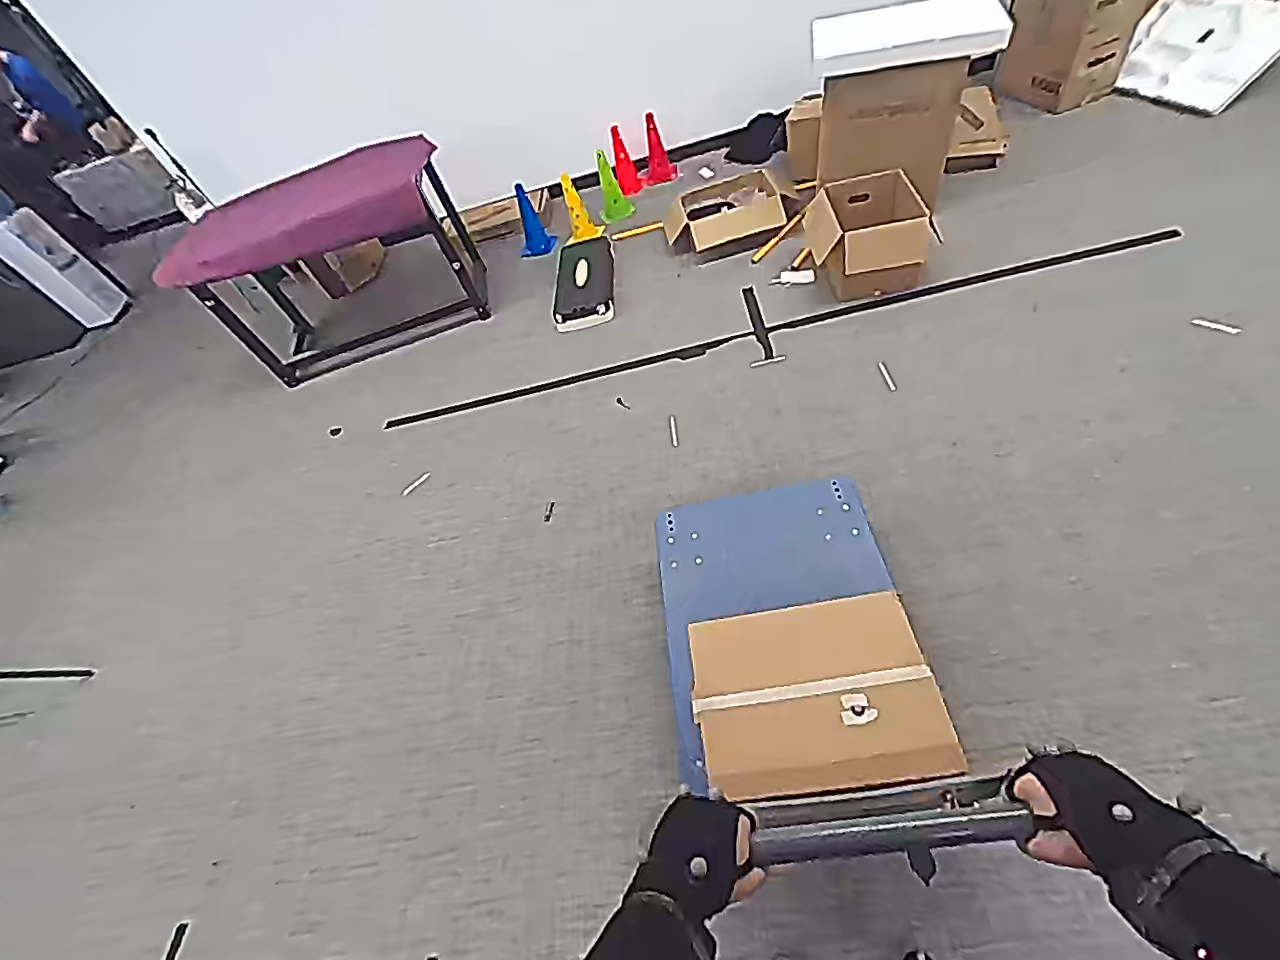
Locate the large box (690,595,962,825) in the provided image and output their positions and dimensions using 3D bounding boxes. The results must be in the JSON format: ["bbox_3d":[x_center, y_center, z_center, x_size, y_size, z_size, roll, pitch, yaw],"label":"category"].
[{"bbox_3d":[0.335,0.469,1.080,0.408,0.320,0.320,-11,51,7],"label":"large box"}]
